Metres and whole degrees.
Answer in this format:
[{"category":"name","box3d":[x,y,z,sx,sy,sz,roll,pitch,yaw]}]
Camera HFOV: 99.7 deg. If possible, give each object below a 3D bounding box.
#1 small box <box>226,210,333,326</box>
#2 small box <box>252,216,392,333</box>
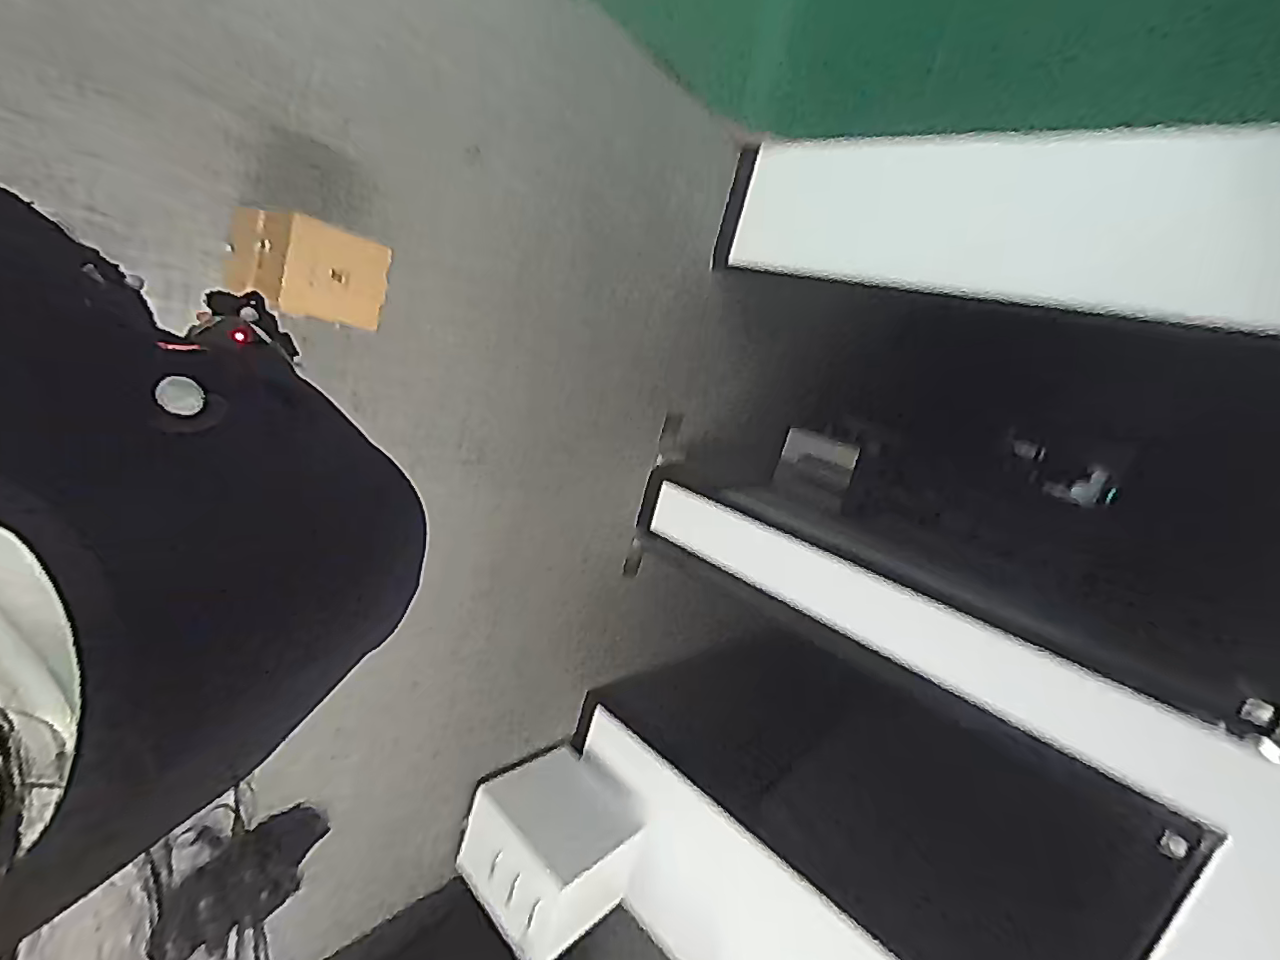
[{"category":"small box","box3d":[-0.747,-0.447,1.142,0.168,0.176,0.179,4,106,-52]},{"category":"small box","box3d":[-0.619,-0.399,1.053,0.179,0.176,0.168,4,104,-51]}]
